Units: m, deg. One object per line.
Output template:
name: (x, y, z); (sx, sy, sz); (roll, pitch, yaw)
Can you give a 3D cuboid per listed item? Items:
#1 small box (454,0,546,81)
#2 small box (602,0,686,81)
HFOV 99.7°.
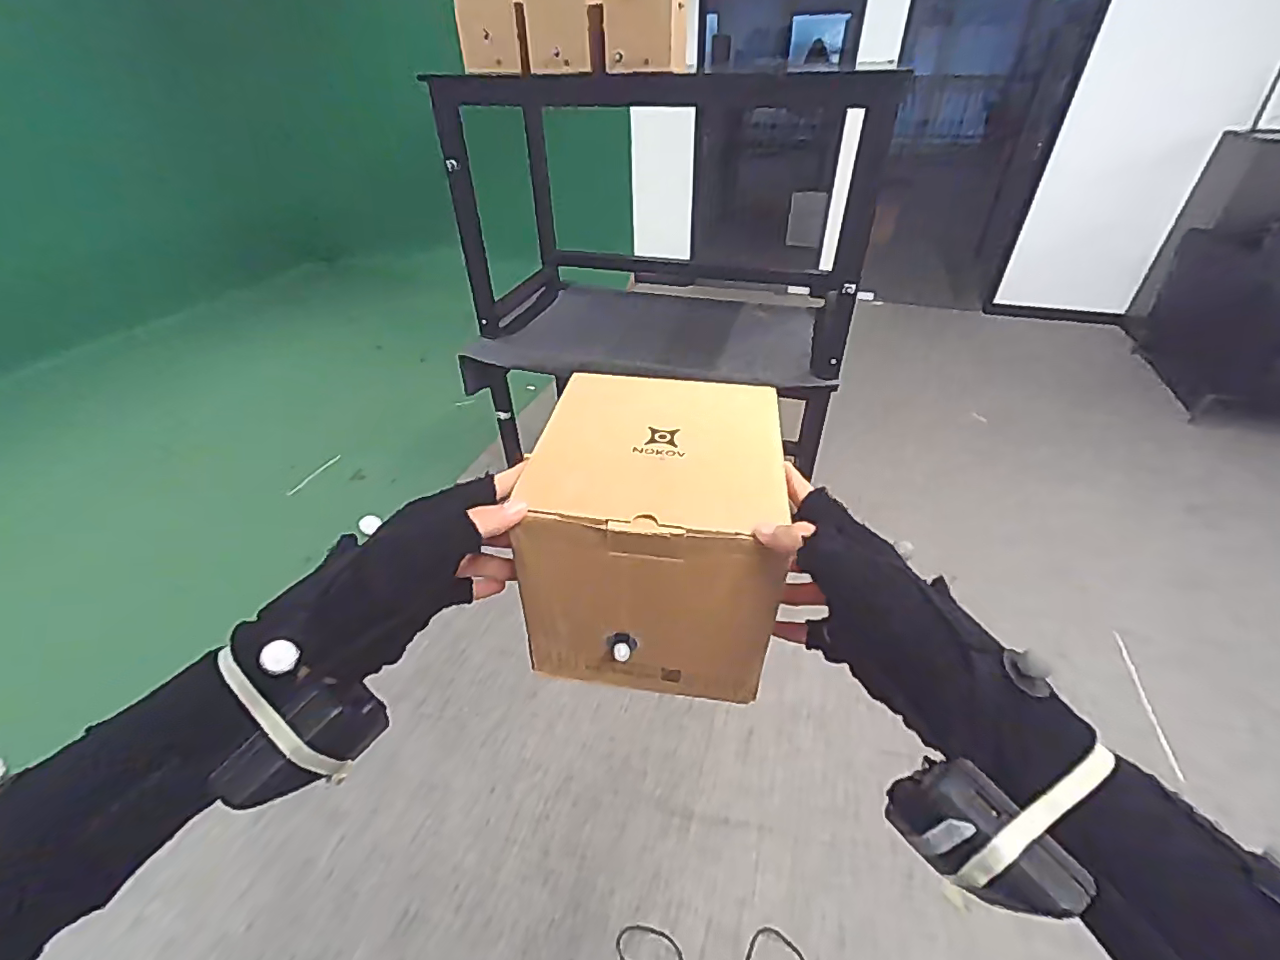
small box: (-0.359, -1.161, 1.428); (0.168, 0.176, 0.179); (11, 40, 13)
small box: (0.015, -1.081, 1.317); (0.168, 0.176, 0.179); (9, 38, 12)
